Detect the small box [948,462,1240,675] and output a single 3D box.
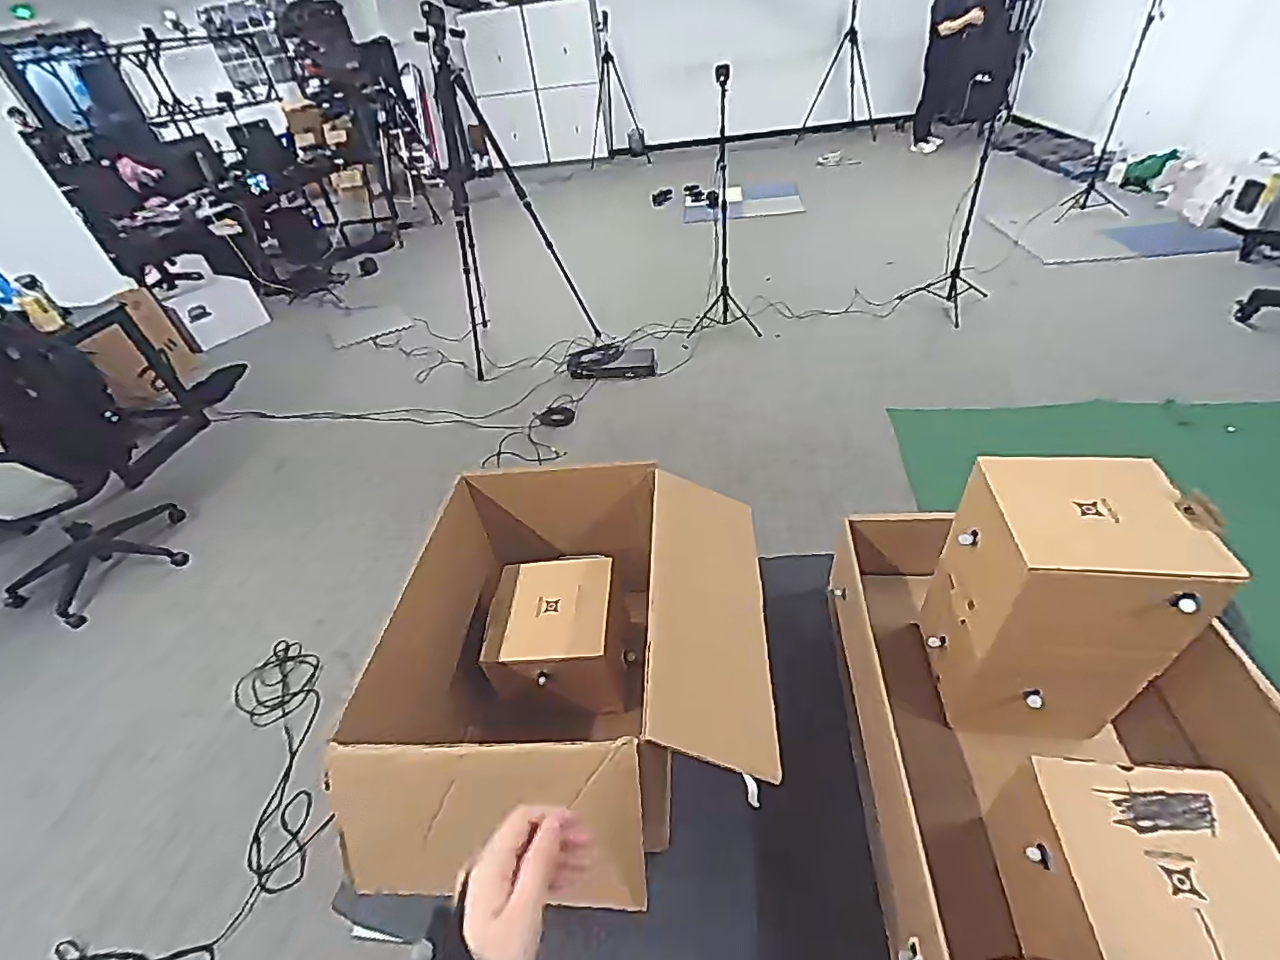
[{"bbox_3d":[0.463,0.097,0.597,0.179,0.176,0.168,1,42,11],"label":"small box"}]
